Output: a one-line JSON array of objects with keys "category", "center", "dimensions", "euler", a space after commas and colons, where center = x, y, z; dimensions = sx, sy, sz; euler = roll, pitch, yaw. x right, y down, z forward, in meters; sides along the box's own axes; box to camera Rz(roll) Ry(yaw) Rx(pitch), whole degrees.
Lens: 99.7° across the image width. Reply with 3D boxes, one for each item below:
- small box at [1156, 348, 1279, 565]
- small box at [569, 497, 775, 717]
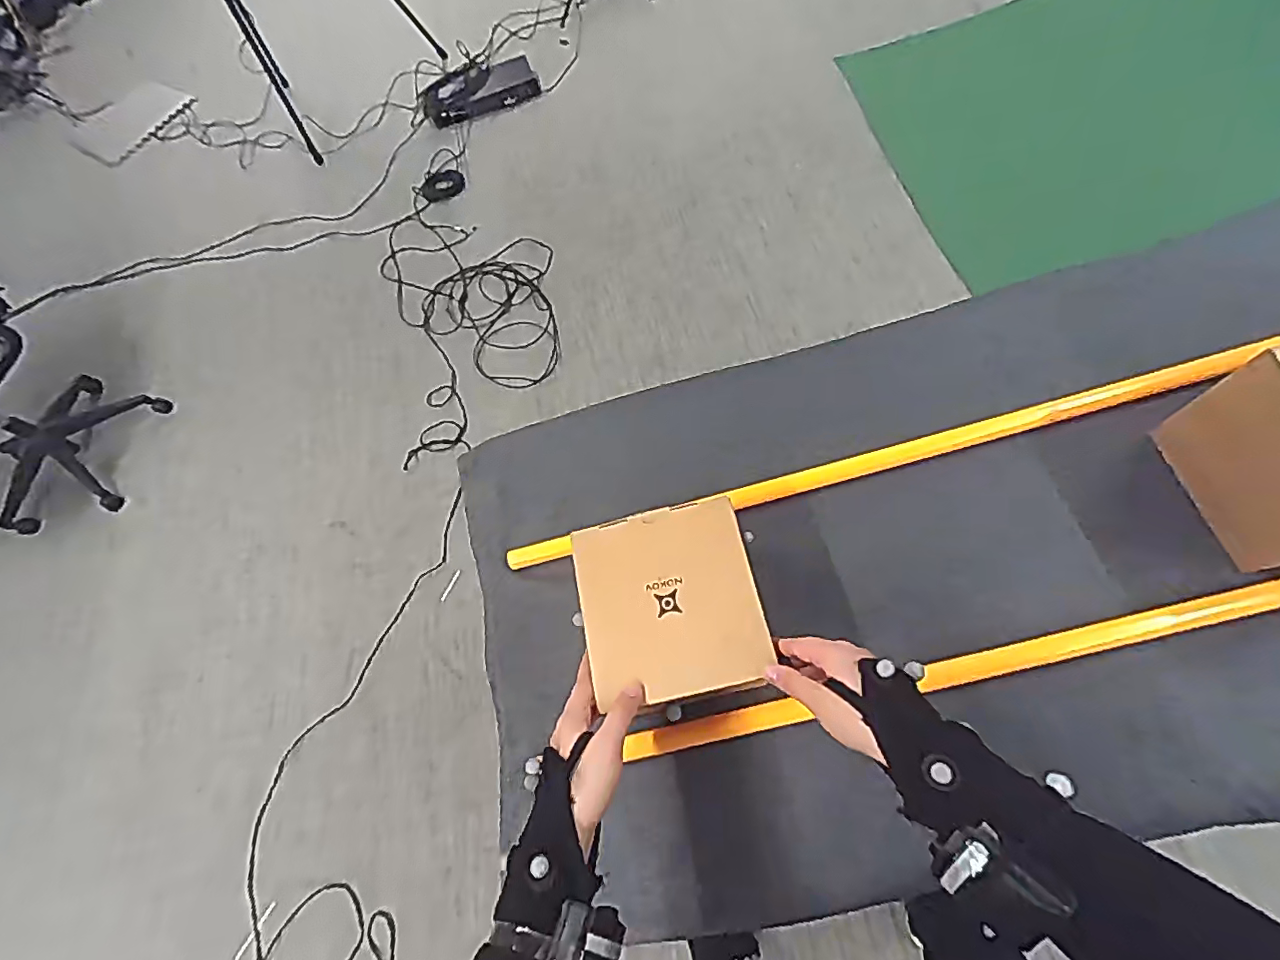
[{"category": "small box", "center": [0.671, -0.026, 0.516], "dimensions": [0.168, 0.176, 0.179], "euler": [-13, 65, 7]}, {"category": "small box", "center": [0.036, 0.143, 0.574], "dimensions": [0.168, 0.176, 0.179], "euler": [-14, 64, 3]}]
